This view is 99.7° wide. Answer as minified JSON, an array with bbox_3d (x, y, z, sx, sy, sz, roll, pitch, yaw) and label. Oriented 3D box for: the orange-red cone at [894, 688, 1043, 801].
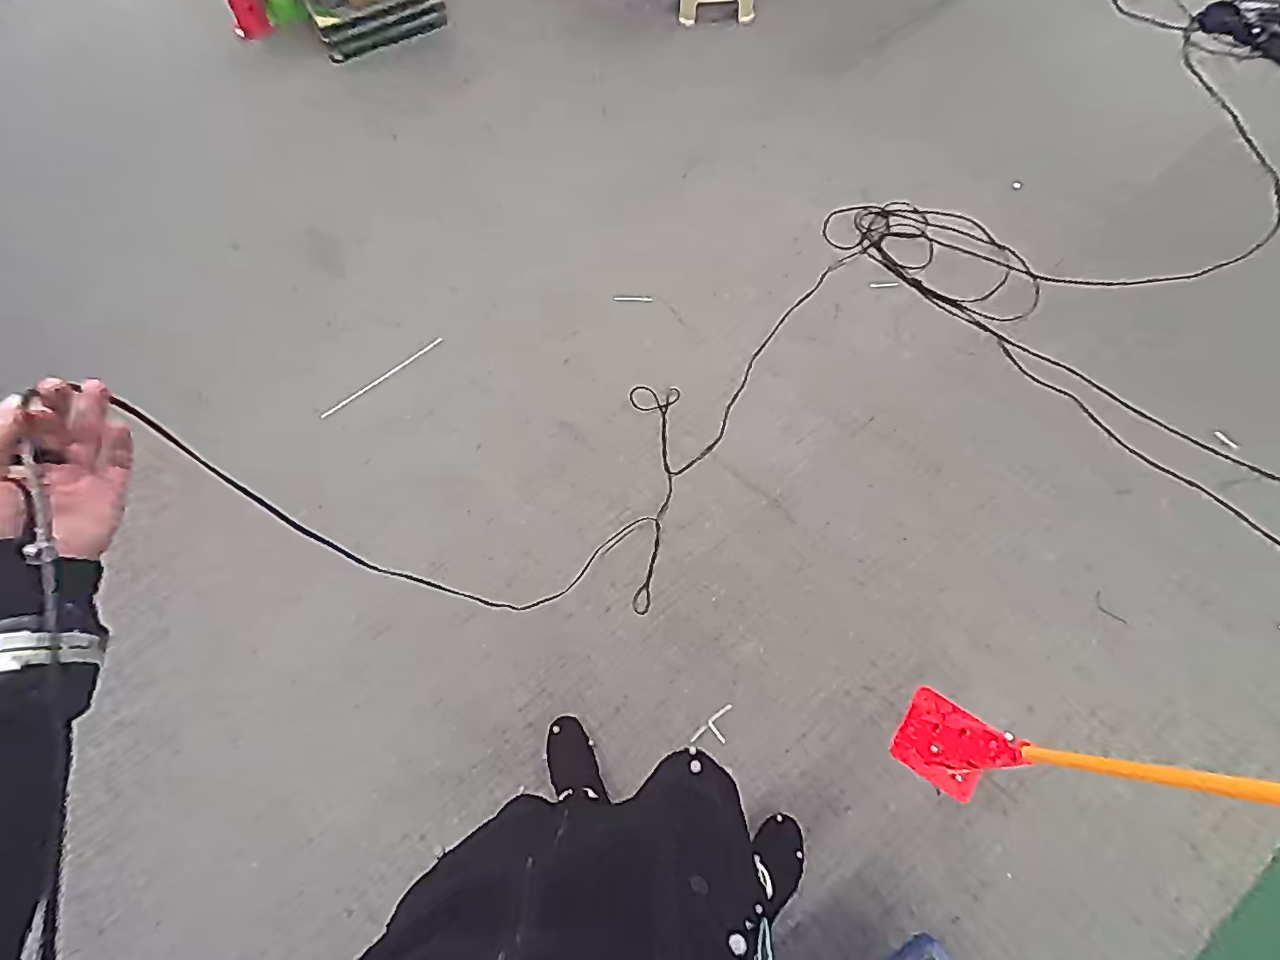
[{"bbox_3d":[0.740,0.577,1.171,0.198,0.360,0.199,34,72,15],"label":"orange-red cone"}]
